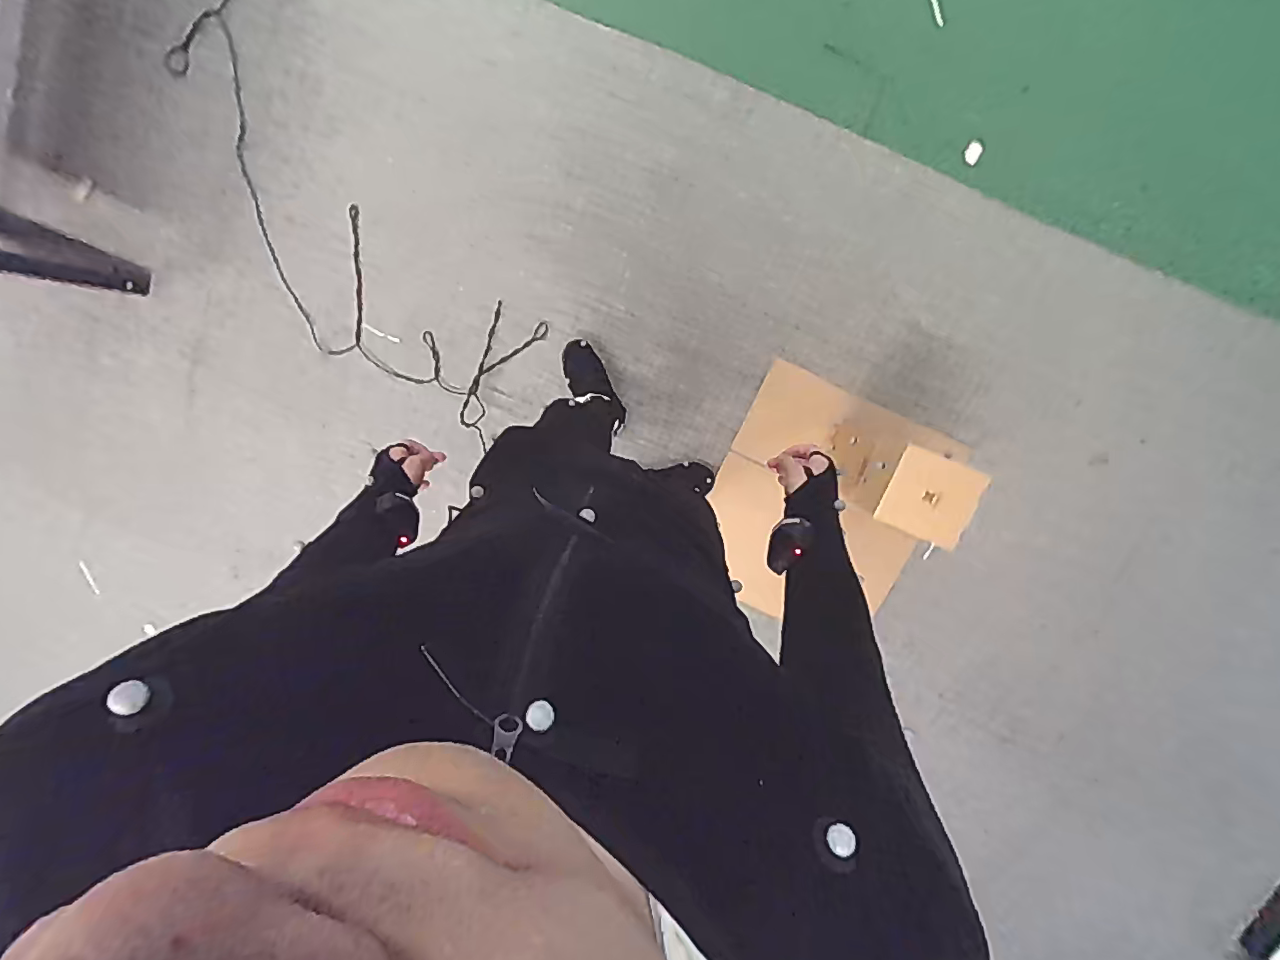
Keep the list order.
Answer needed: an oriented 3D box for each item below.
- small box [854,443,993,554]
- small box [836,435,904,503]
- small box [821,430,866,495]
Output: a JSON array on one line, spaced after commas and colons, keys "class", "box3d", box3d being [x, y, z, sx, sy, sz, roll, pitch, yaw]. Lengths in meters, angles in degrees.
[{"class": "small box", "box3d": [0.579, 0.029, 1.134, 0.179, 0.176, 0.168, 22, 101, 1]}, {"class": "small box", "box3d": [0.596, -0.003, 1.292, 0.179, 0.176, 0.168, 22, 101, 1]}, {"class": "small box", "box3d": [0.612, -0.030, 1.452, 0.179, 0.176, 0.168, 19, 101, 3]}]
